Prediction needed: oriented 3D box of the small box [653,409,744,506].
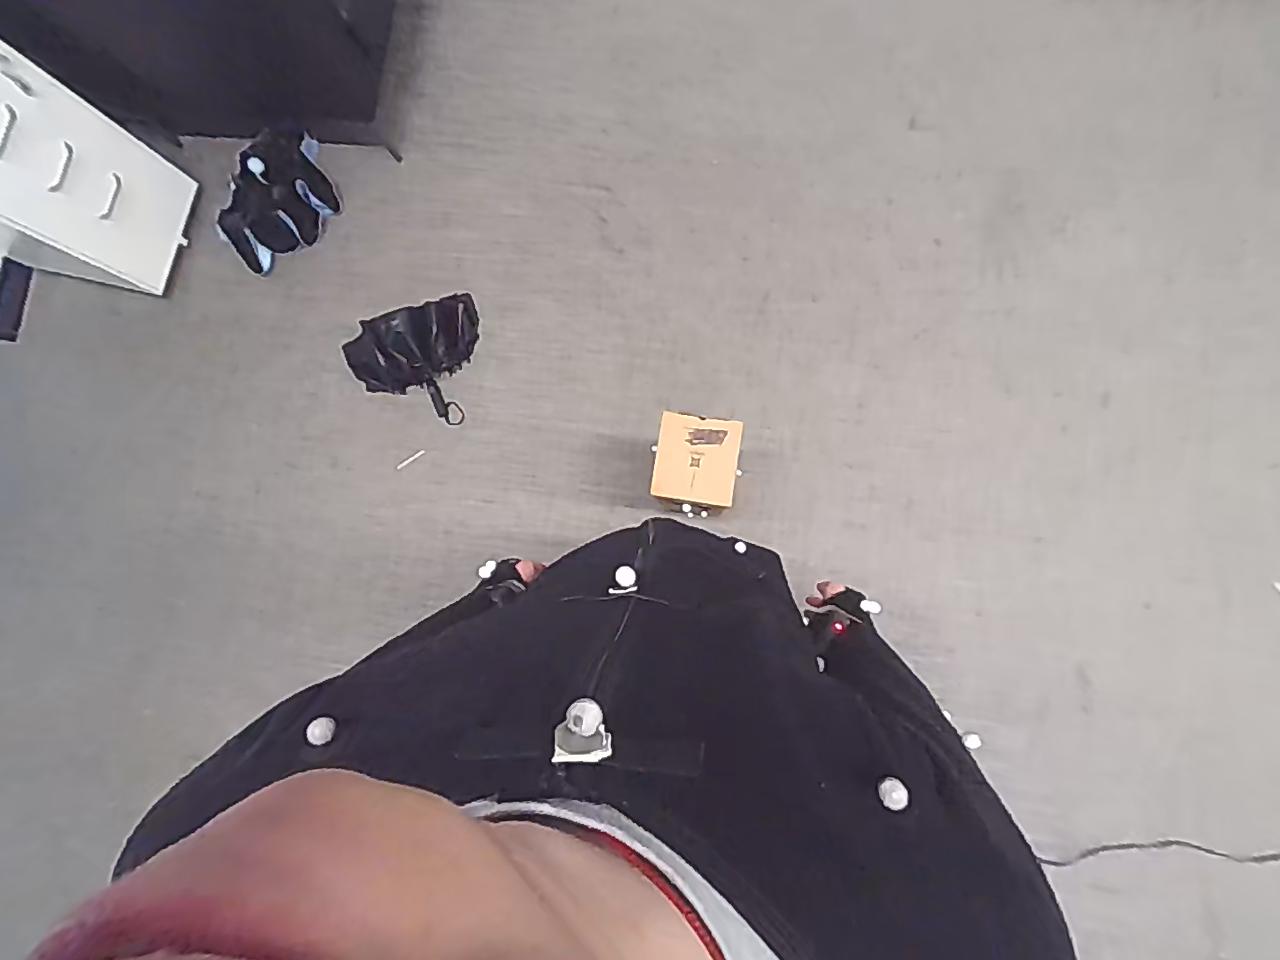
[{"bbox_3d":[0.125,-0.042,1.178,0.168,0.176,0.179,8,87,6],"label":"small box"}]
